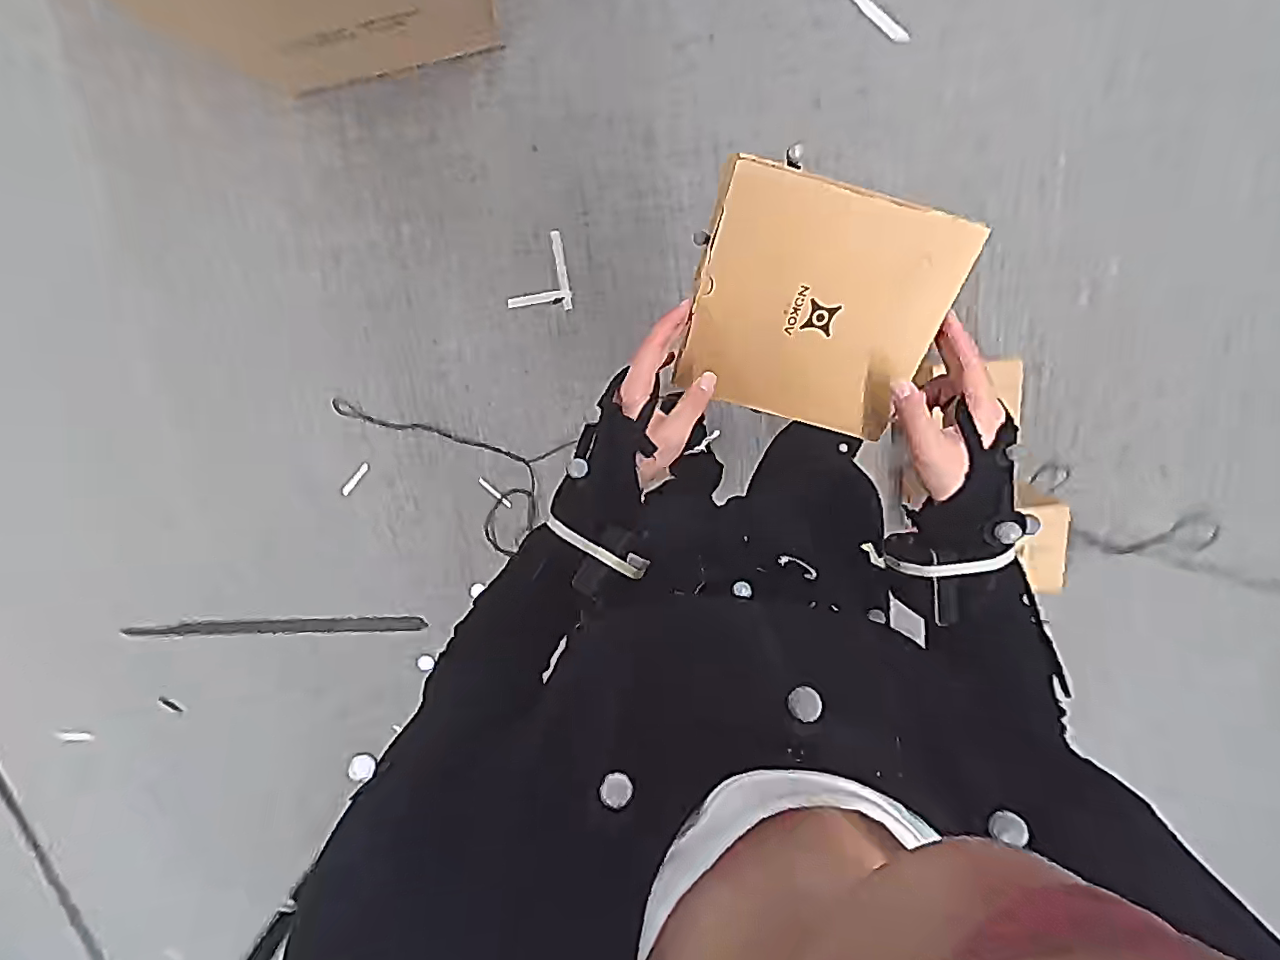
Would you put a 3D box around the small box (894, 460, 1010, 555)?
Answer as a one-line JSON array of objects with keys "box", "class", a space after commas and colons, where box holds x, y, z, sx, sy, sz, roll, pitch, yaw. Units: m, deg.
[{"box": [0.691, 0.057, 1.214, 0.179, 0.176, 0.168, -5, 106, 9], "class": "small box"}]

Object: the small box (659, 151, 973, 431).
[{"box": [0.125, -0.166, 0.456, 0.179, 0.176, 0.168, 14, 121, 0], "class": "small box"}]

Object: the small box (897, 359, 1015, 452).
[{"box": [0.662, -0.164, 1.153, 0.168, 0.176, 0.179, -3, 105, 9], "class": "small box"}]
